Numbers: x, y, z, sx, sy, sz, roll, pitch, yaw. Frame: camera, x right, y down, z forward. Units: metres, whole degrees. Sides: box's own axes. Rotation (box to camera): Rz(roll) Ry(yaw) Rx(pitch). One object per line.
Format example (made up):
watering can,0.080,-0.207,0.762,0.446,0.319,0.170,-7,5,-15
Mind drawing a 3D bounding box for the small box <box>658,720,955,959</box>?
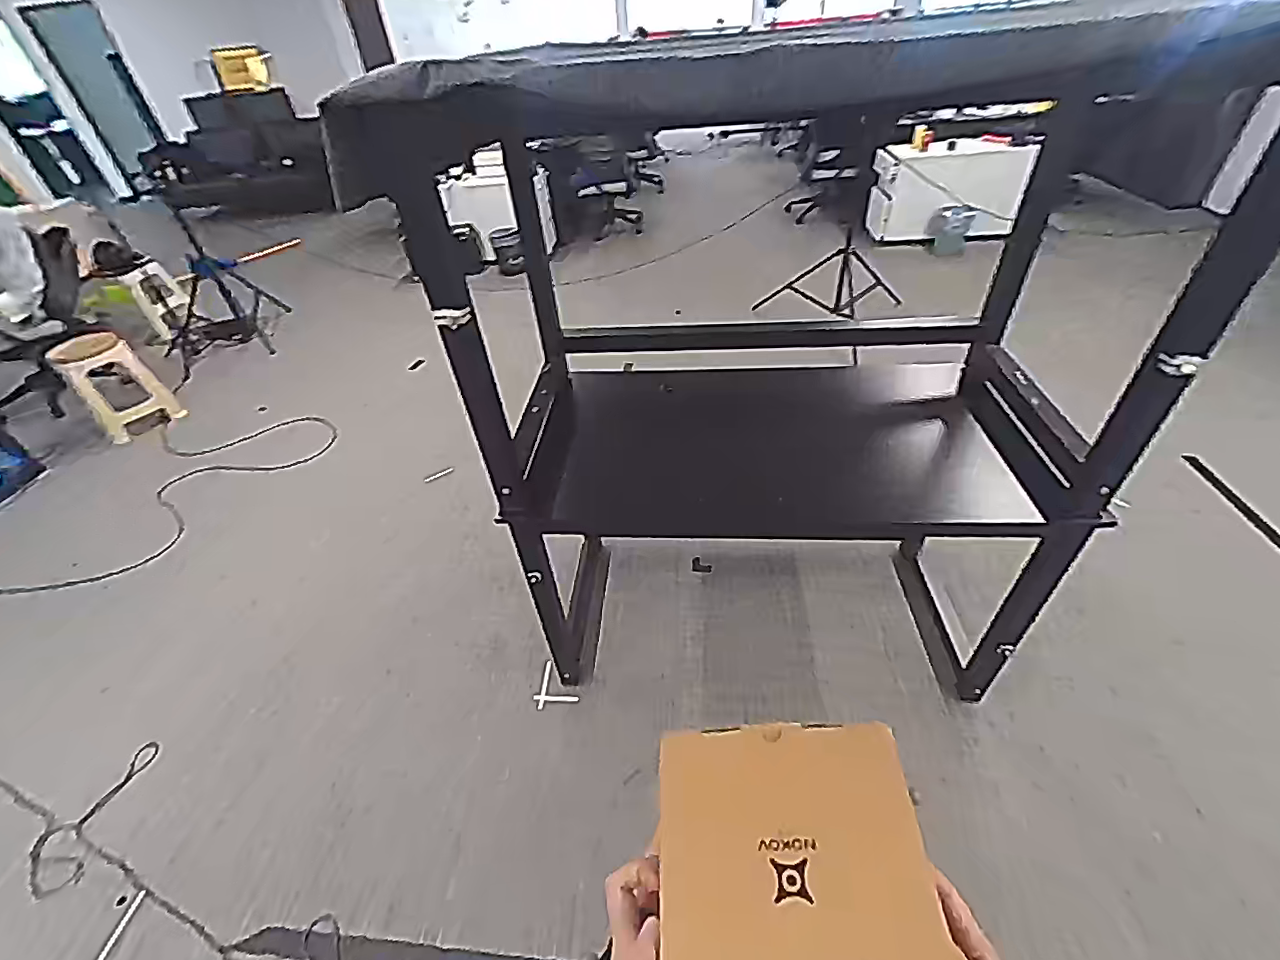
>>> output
small box,0.107,0.296,0.387,0.168,0.176,0.179,-6,43,8
